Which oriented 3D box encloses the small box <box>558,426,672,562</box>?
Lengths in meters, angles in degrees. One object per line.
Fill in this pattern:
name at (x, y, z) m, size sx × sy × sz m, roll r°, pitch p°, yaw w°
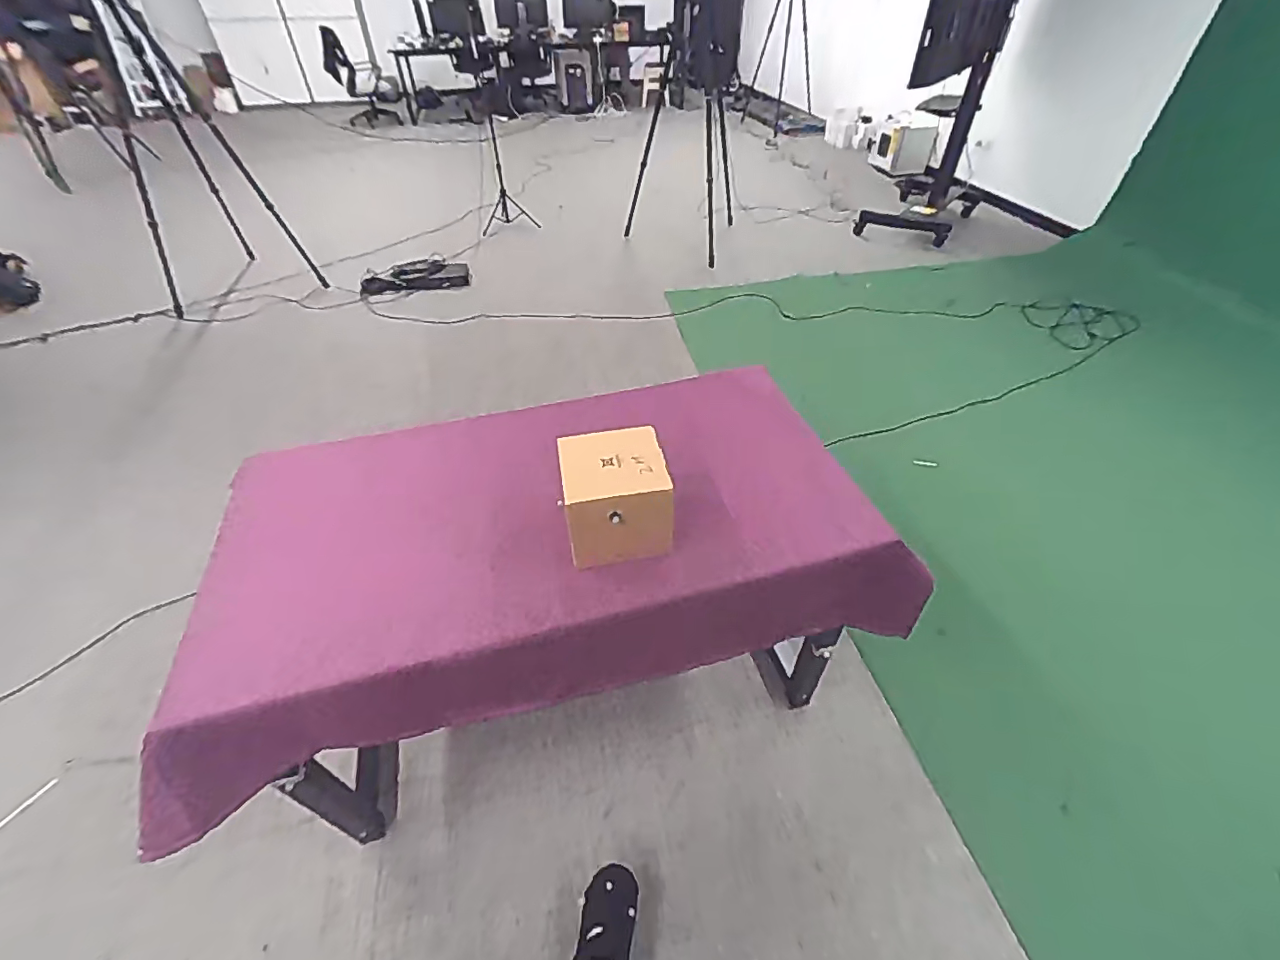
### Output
small box at (-0.042, 0.028, 0.959) m, size 0.179 × 0.176 × 0.168 m, roll -8°, pitch 45°, yaw -6°
